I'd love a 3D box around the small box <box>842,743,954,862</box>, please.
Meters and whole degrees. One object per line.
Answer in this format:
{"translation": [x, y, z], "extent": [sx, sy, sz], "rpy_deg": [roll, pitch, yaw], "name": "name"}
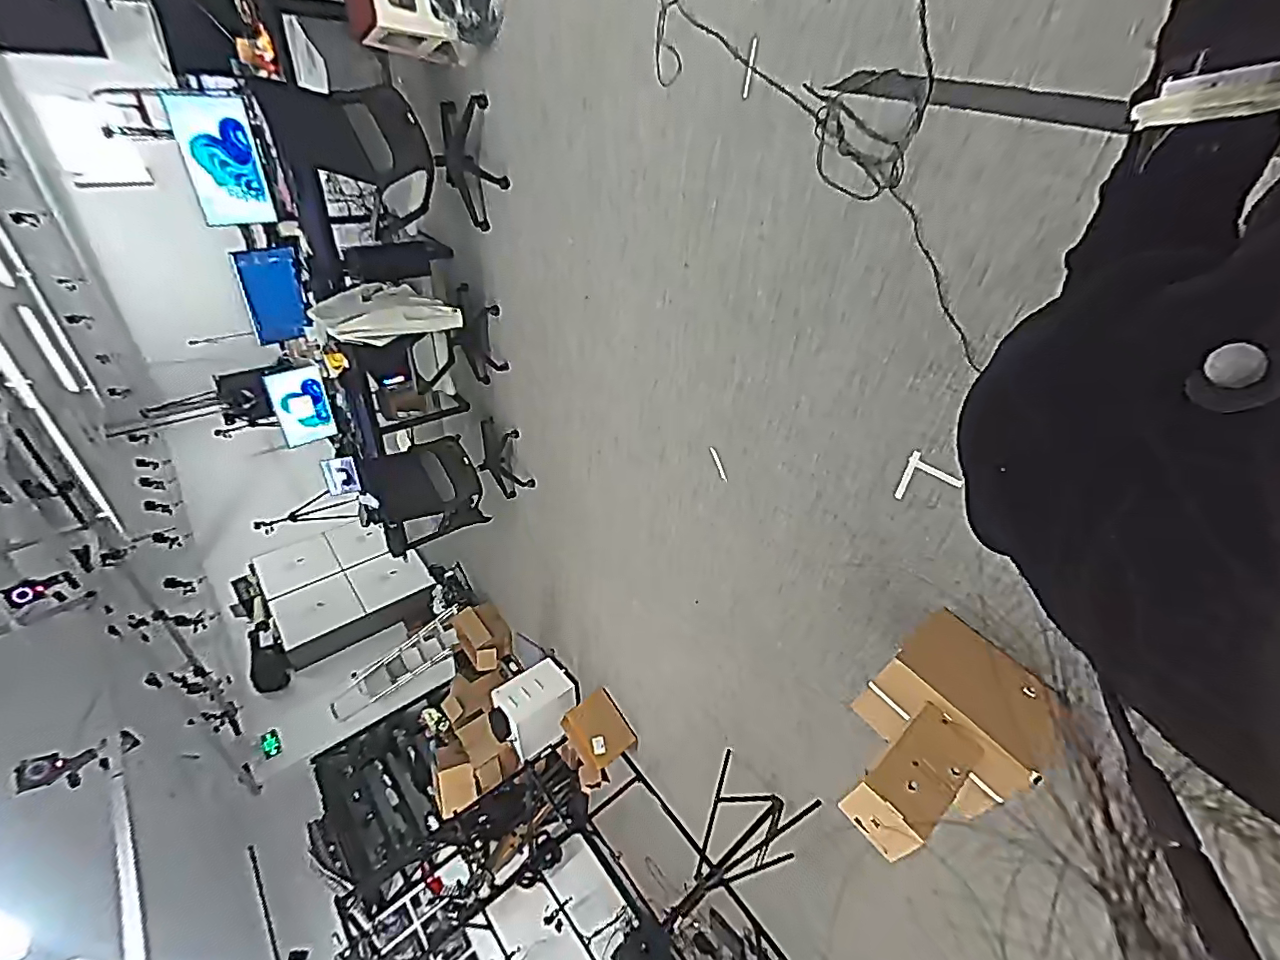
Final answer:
{"translation": [0.649, 0.800, 1.356], "extent": [0.168, 0.176, 0.179], "rpy_deg": [43, 140, 31], "name": "small box"}
